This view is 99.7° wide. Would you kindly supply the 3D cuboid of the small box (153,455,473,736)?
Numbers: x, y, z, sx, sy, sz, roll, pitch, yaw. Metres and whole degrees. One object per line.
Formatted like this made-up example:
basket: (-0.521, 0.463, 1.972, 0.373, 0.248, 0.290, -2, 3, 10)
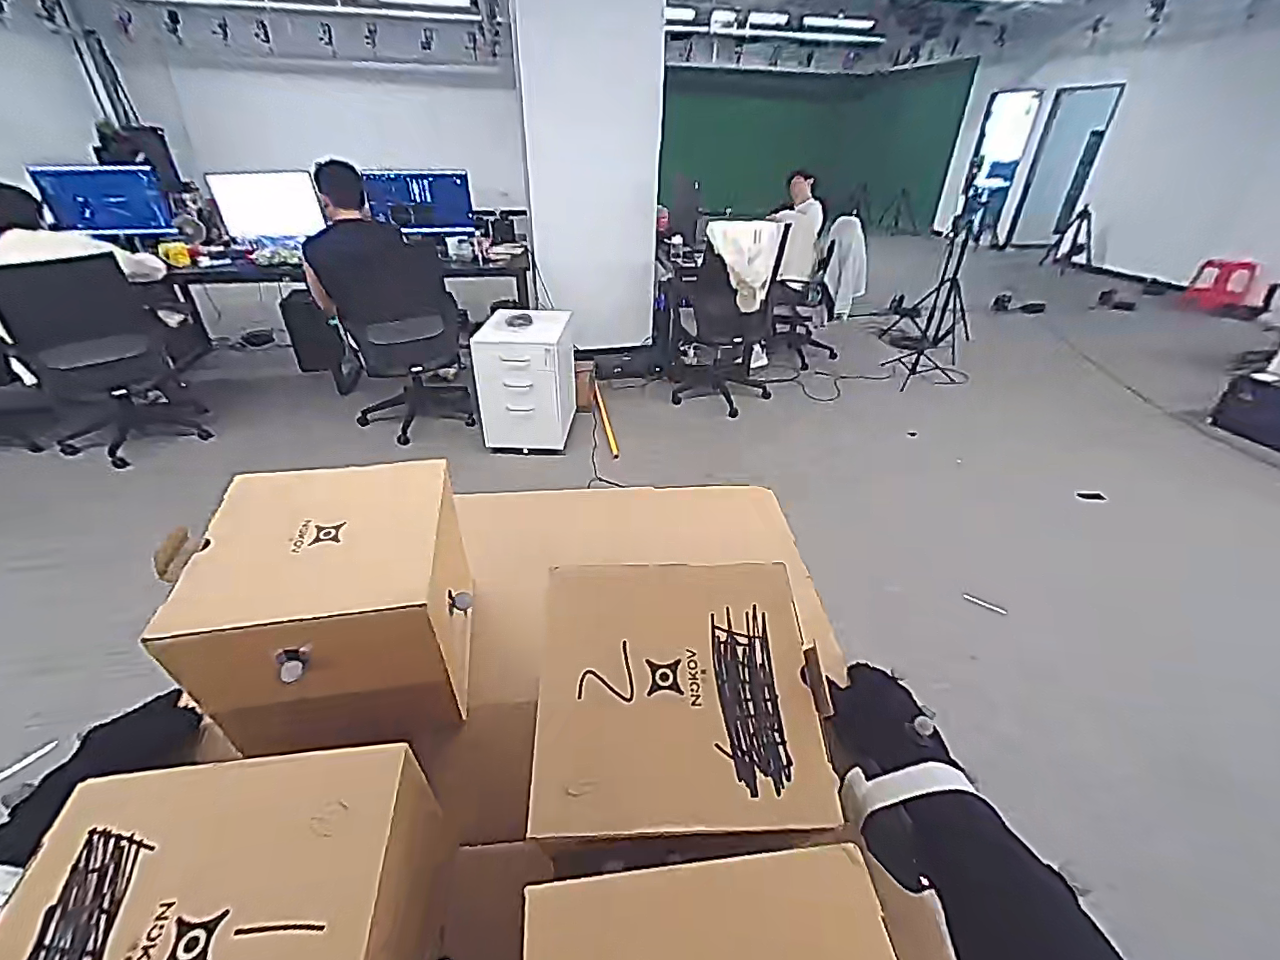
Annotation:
small box: (-0.250, 0.098, 0.477, 0.179, 0.176, 0.168, -6, 40, -9)
